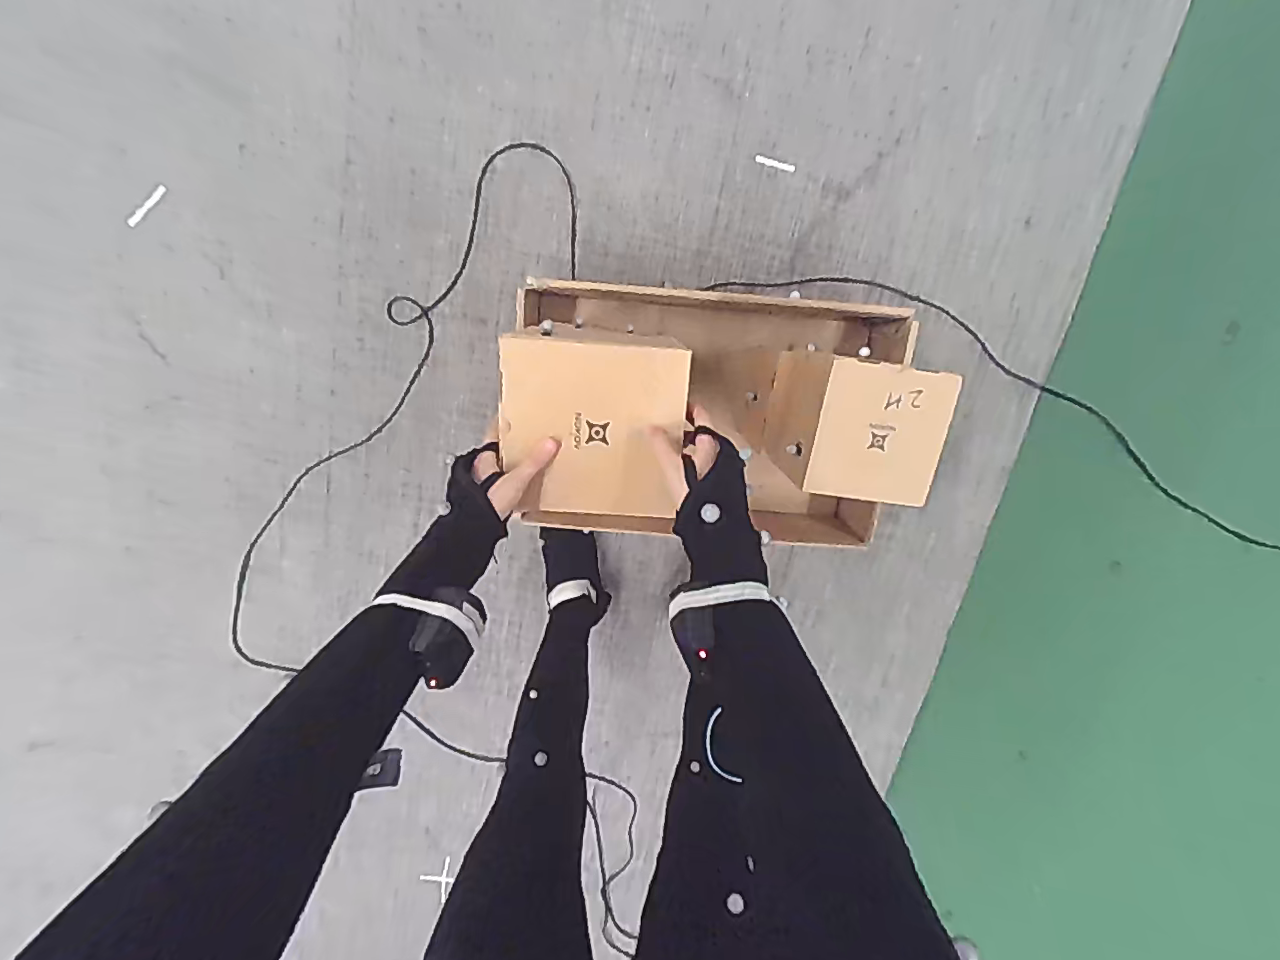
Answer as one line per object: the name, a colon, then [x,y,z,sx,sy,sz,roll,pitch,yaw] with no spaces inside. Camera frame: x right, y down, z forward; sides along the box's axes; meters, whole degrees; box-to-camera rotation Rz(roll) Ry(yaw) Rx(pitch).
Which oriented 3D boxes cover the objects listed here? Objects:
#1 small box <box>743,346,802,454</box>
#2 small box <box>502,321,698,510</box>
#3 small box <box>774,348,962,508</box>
small box: [0.283,-0.130,0.910,0.179,0.176,0.168,9,106,-2]
small box: [-0.042,-0.078,0.582,0.179,0.176,0.168,4,107,-2]
small box: [0.298,-0.080,0.753,0.168,0.176,0.179,9,105,-4]
